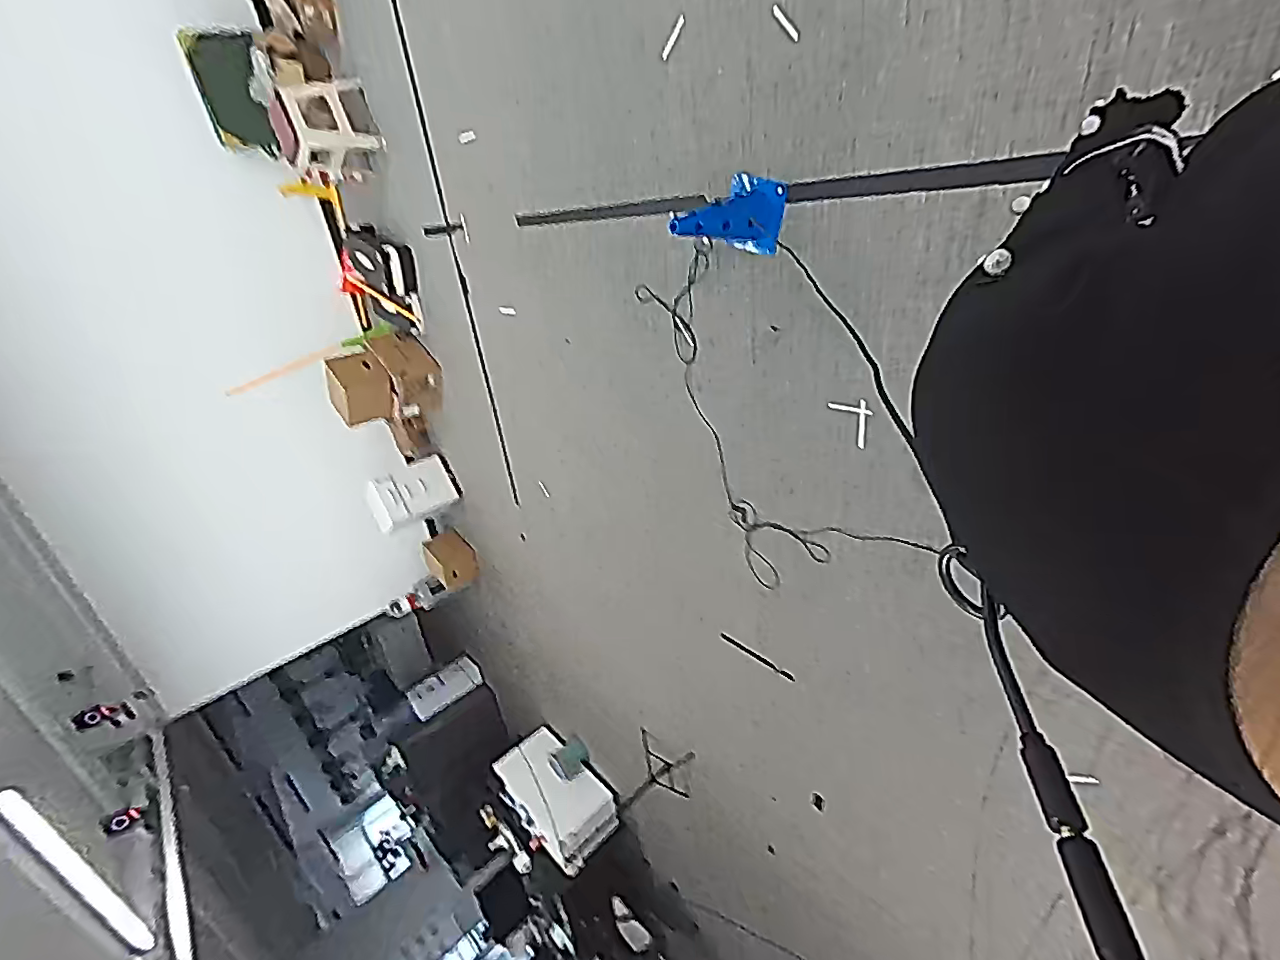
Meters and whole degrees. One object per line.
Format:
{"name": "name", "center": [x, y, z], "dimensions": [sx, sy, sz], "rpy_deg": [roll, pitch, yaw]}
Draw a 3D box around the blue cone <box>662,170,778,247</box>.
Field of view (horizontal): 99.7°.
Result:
{"name": "blue cone", "center": [0.203, -0.755, 1.527], "dimensions": [0.193, 0.380, 0.192], "rpy_deg": [36, 136, 31]}
